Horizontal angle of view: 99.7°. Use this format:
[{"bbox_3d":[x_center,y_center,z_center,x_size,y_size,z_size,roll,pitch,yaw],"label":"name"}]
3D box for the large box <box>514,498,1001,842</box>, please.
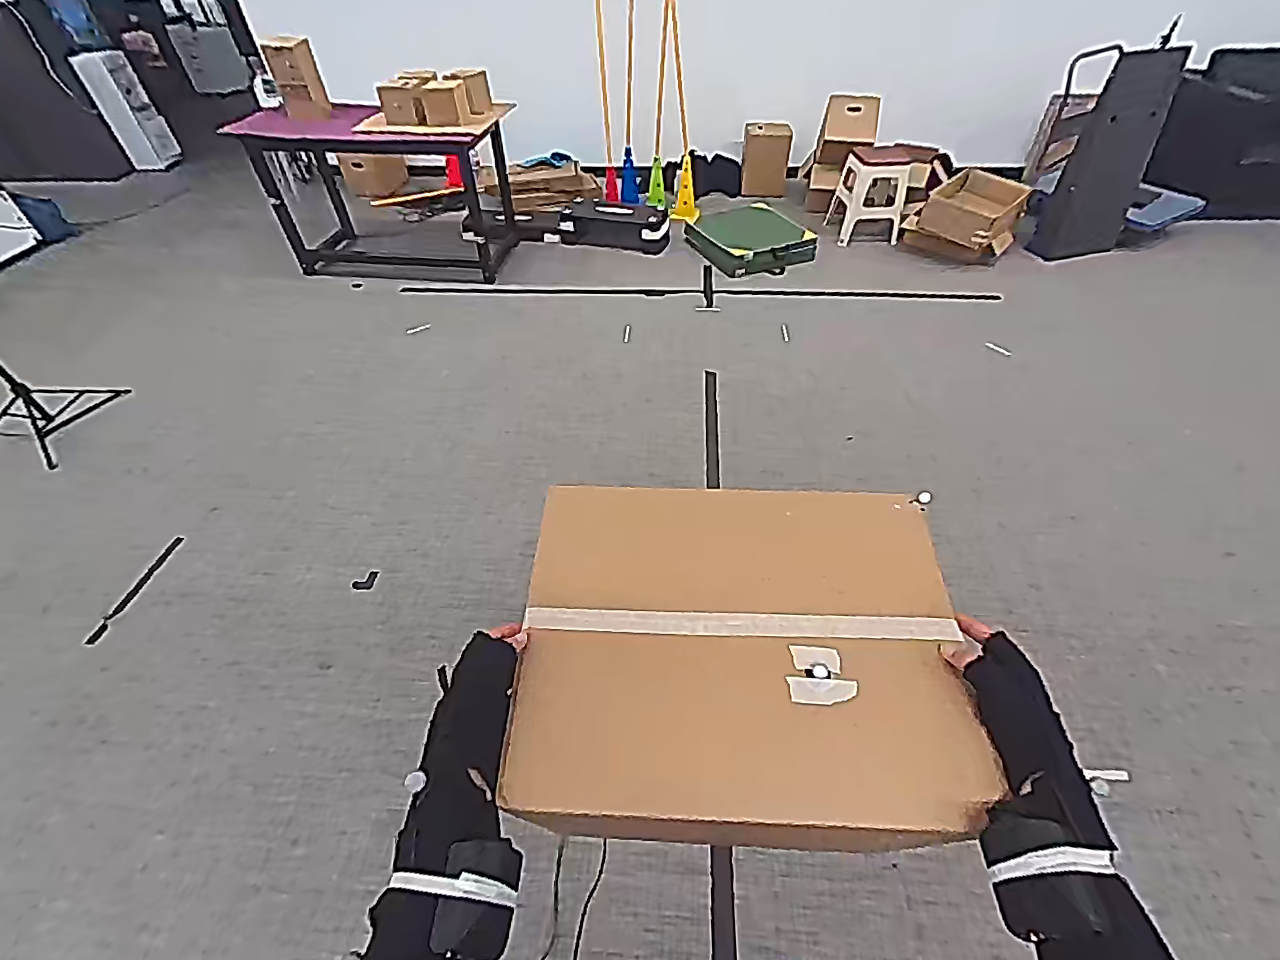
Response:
[{"bbox_3d":[0.098,0.234,0.642,0.408,0.320,0.320,1,55,2],"label":"large box"}]
